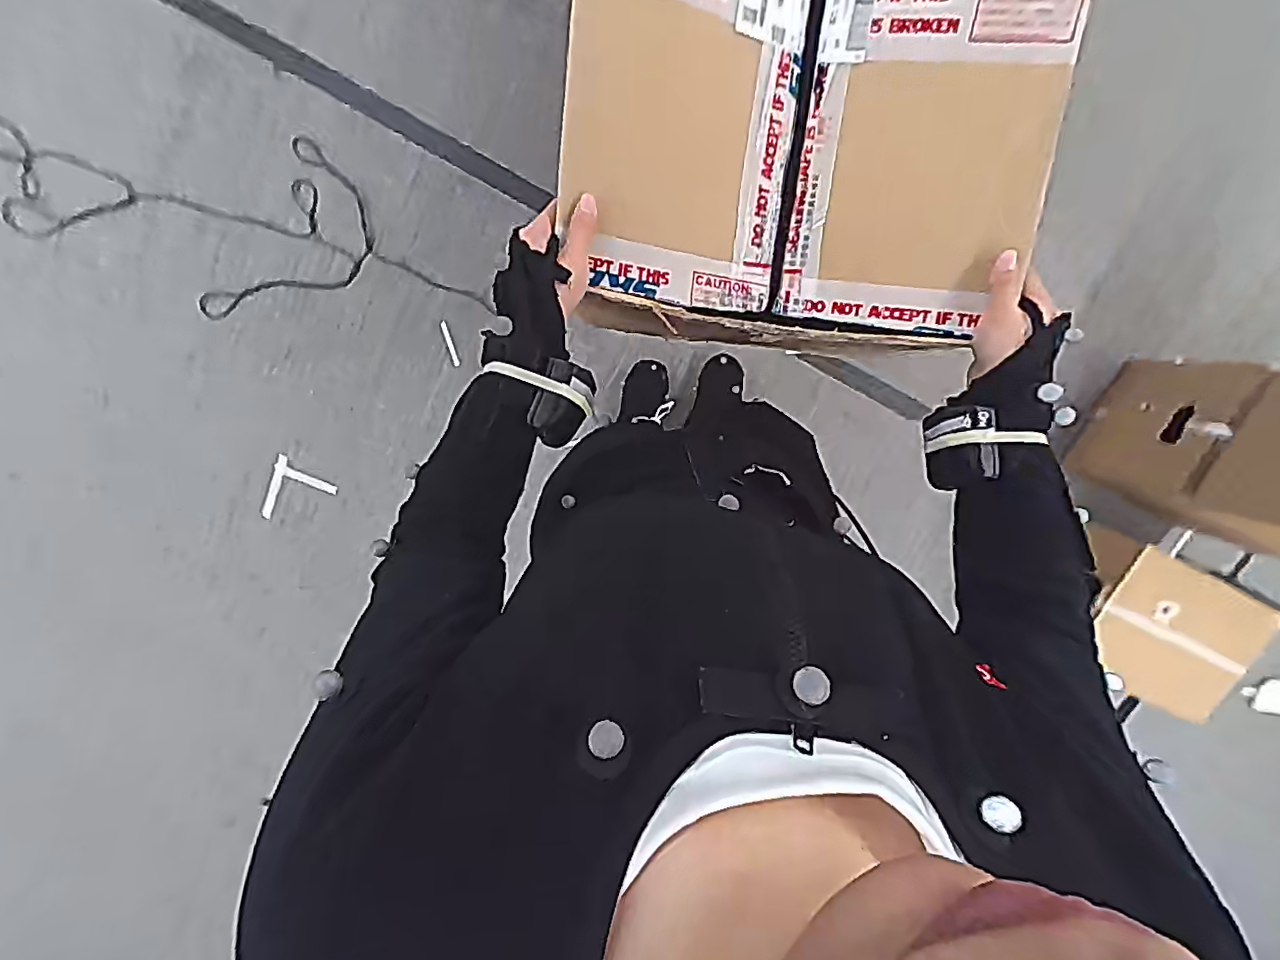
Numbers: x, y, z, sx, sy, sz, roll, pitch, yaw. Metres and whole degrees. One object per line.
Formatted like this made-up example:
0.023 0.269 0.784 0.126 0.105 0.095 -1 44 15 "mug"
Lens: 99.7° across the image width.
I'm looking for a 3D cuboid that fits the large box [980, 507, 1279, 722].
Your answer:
1.181 0.316 1.344 0.408 0.320 0.320 25 101 -6 "large box"
